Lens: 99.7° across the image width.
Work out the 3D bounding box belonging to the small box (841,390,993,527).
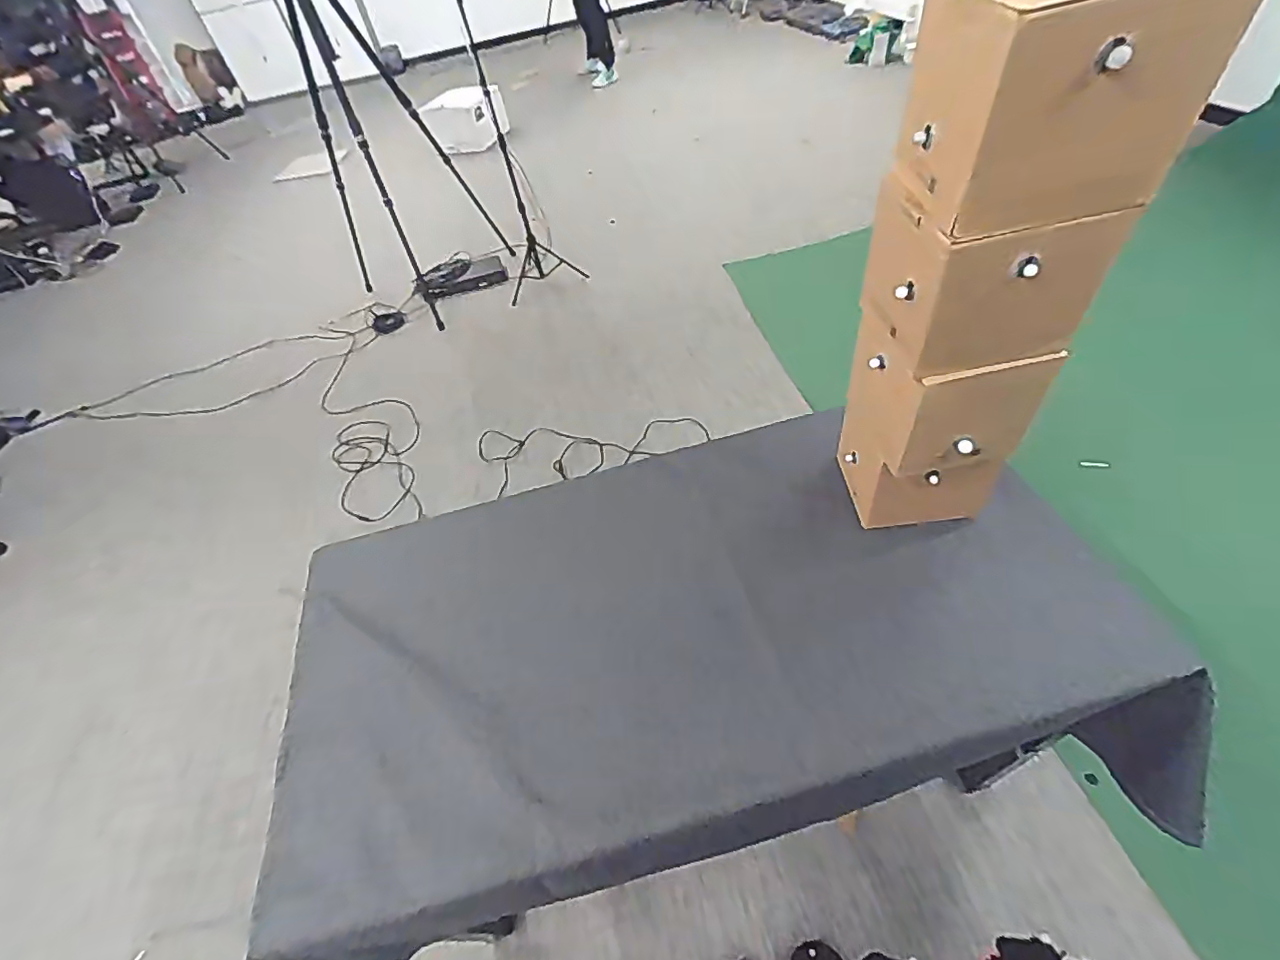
[{"bbox_3d":[0.429,-0.040,0.858,0.179,0.176,0.168,-6,49,5],"label":"small box"}]

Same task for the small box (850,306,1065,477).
[{"bbox_3d":[0.399,-0.130,0.724,0.168,0.176,0.179,-12,49,2],"label":"small box"}]

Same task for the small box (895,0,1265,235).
[{"bbox_3d":[0.356,-0.344,0.482,0.179,0.176,0.168,-8,50,6],"label":"small box"}]

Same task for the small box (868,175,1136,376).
[{"bbox_3d":[0.371,-0.236,0.603,0.179,0.176,0.168,-10,49,3],"label":"small box"}]
